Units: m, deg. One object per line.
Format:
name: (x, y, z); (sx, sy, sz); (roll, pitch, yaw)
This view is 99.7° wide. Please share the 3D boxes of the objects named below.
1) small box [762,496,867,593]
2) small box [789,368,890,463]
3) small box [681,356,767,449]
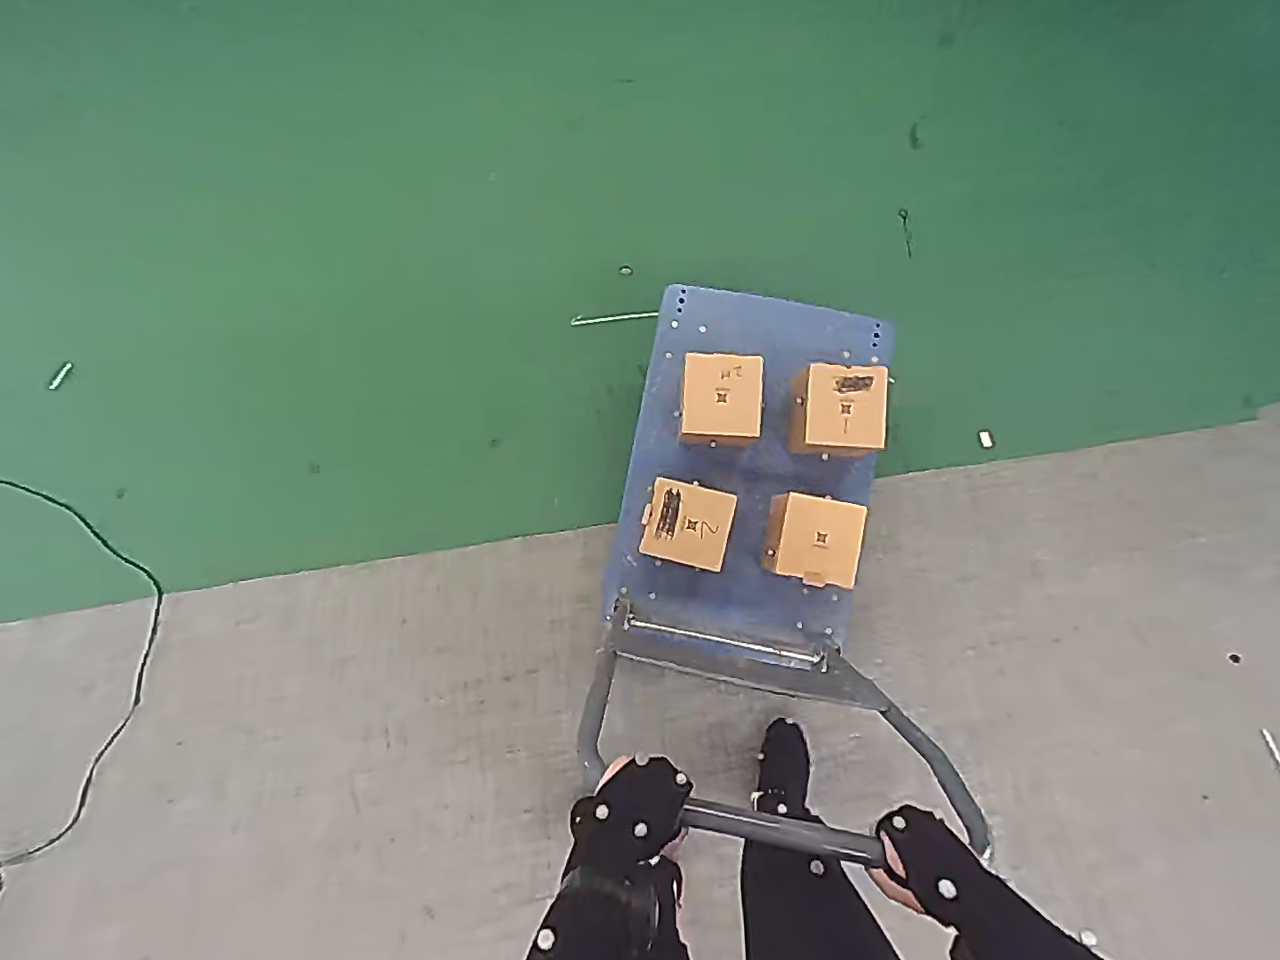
small box: (0.379, 0.140, 1.202); (0.168, 0.176, 0.179); (12, 86, 2)
small box: (0.442, -0.140, 1.221); (0.168, 0.176, 0.179); (5, 86, 2)
small box: (0.183, -0.168, 1.227); (0.168, 0.176, 0.179); (5, 86, 1)
